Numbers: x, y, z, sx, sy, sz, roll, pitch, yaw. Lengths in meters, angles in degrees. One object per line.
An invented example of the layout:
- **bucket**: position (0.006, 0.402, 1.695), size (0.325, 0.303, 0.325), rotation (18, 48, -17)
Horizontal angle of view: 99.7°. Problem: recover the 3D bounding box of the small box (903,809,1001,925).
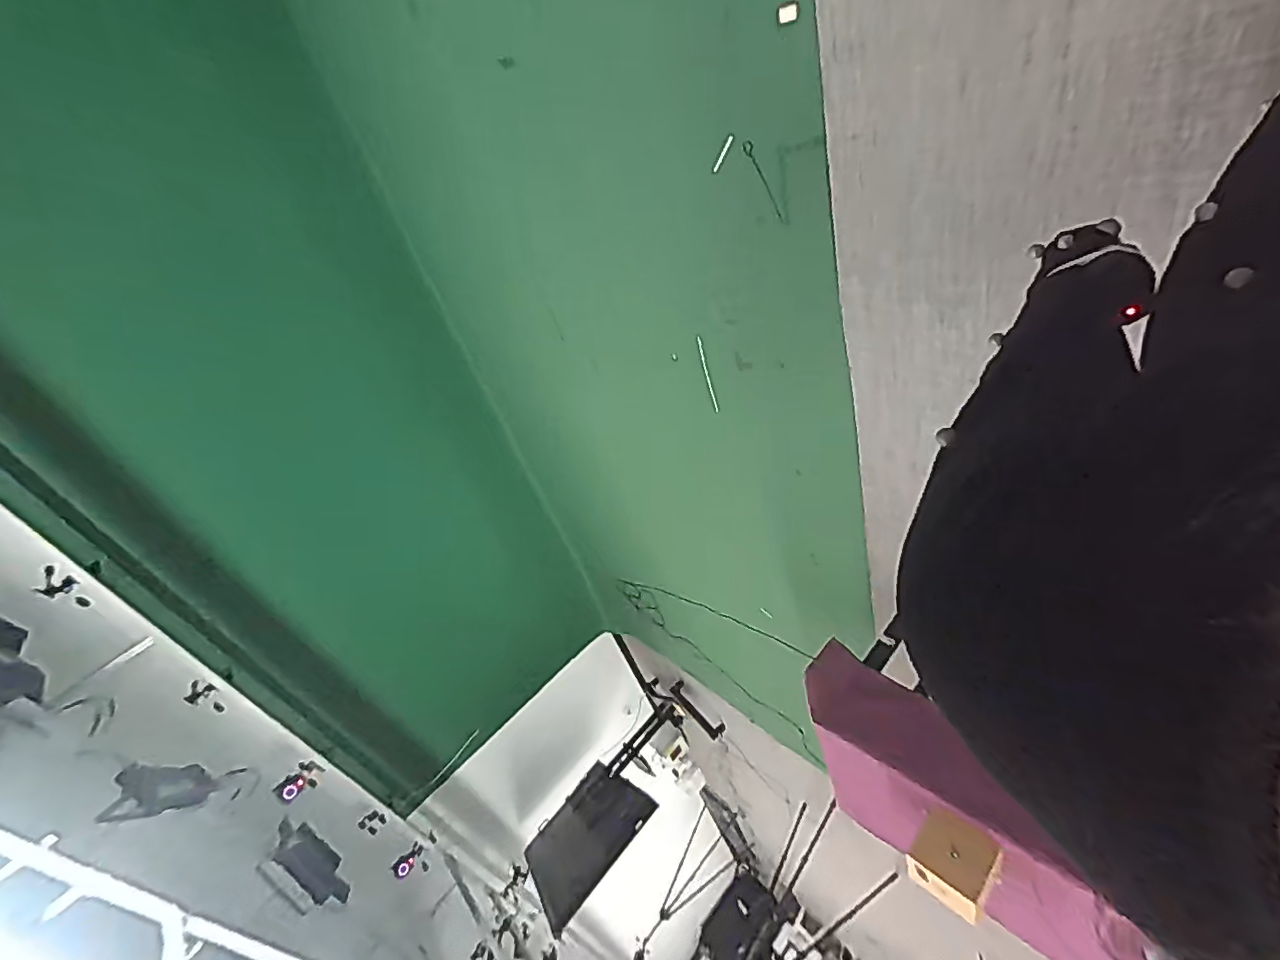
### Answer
- **small box**: position (0.835, 1.026, 1.454), size (0.179, 0.176, 0.168), rotation (20, 141, 45)
